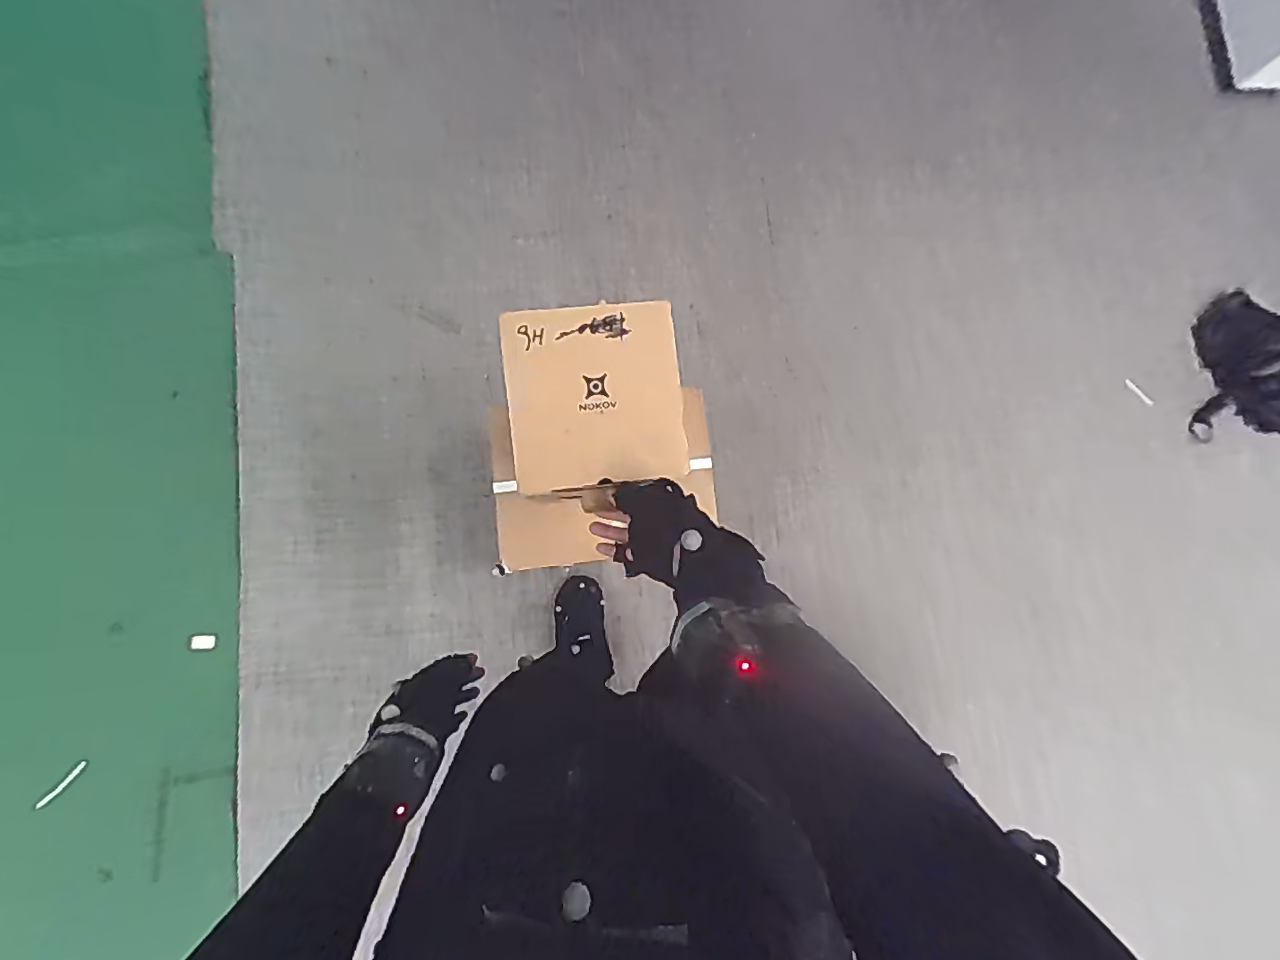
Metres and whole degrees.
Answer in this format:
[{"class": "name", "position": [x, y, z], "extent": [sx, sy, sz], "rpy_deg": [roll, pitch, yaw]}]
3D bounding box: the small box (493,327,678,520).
[{"class": "small box", "position": [-0.059, -0.053, 0.598], "extent": [0.168, 0.176, 0.179], "rpy_deg": [-7, 87, -7]}]
